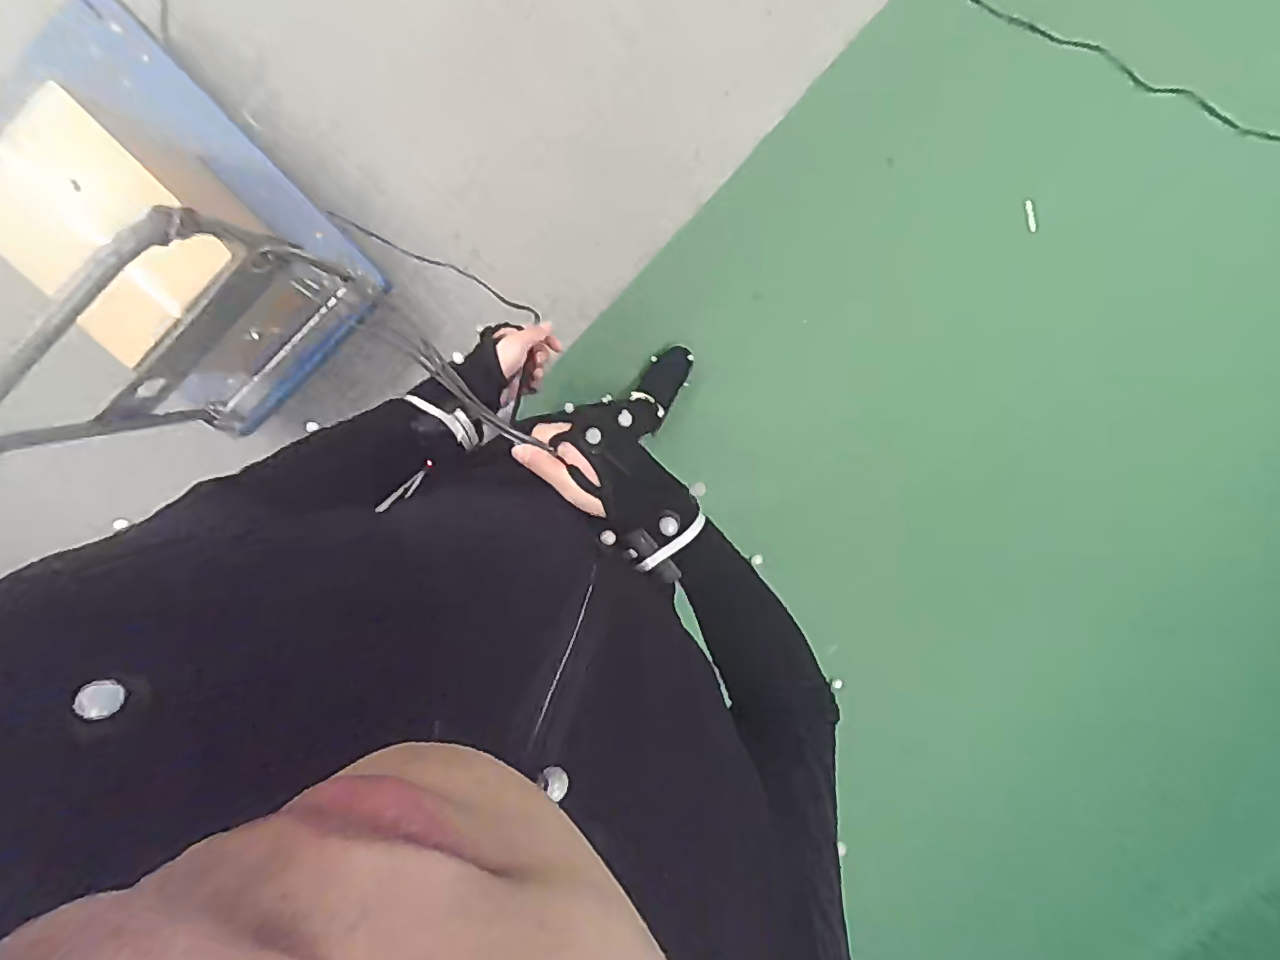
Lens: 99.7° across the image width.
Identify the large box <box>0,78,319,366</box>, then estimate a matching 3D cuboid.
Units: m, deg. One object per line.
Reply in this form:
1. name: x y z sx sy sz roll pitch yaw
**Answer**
1. large box: -0.999 -0.489 1.133 0.320 0.320 0.408 -43 99 6
